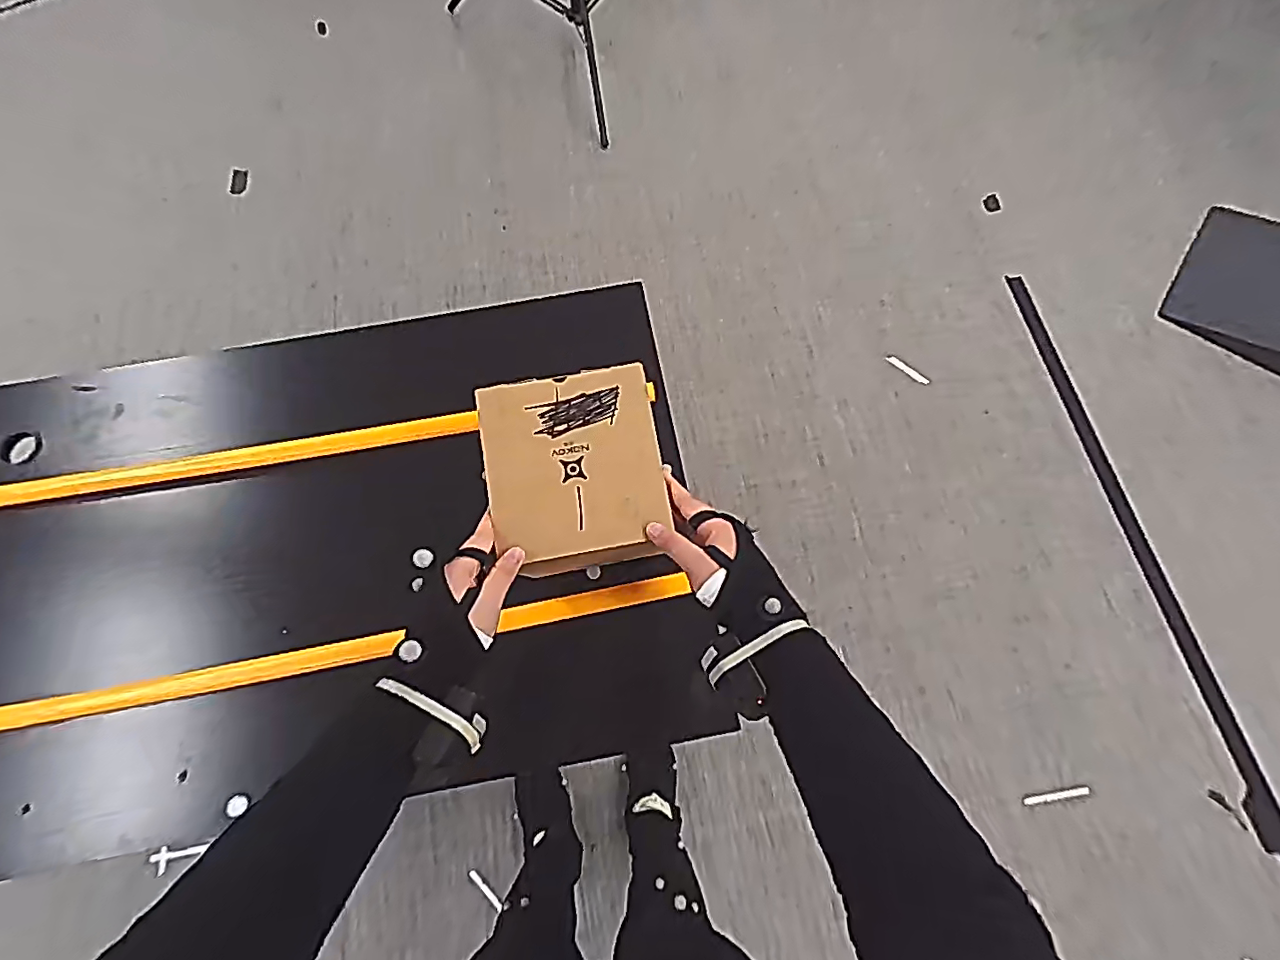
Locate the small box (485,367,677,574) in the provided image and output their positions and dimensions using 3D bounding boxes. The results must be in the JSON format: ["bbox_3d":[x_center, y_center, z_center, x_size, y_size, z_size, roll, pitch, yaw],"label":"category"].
[{"bbox_3d":[-0.060,0.000,0.596,0.168,0.176,0.179,-10,77,-2],"label":"small box"}]
